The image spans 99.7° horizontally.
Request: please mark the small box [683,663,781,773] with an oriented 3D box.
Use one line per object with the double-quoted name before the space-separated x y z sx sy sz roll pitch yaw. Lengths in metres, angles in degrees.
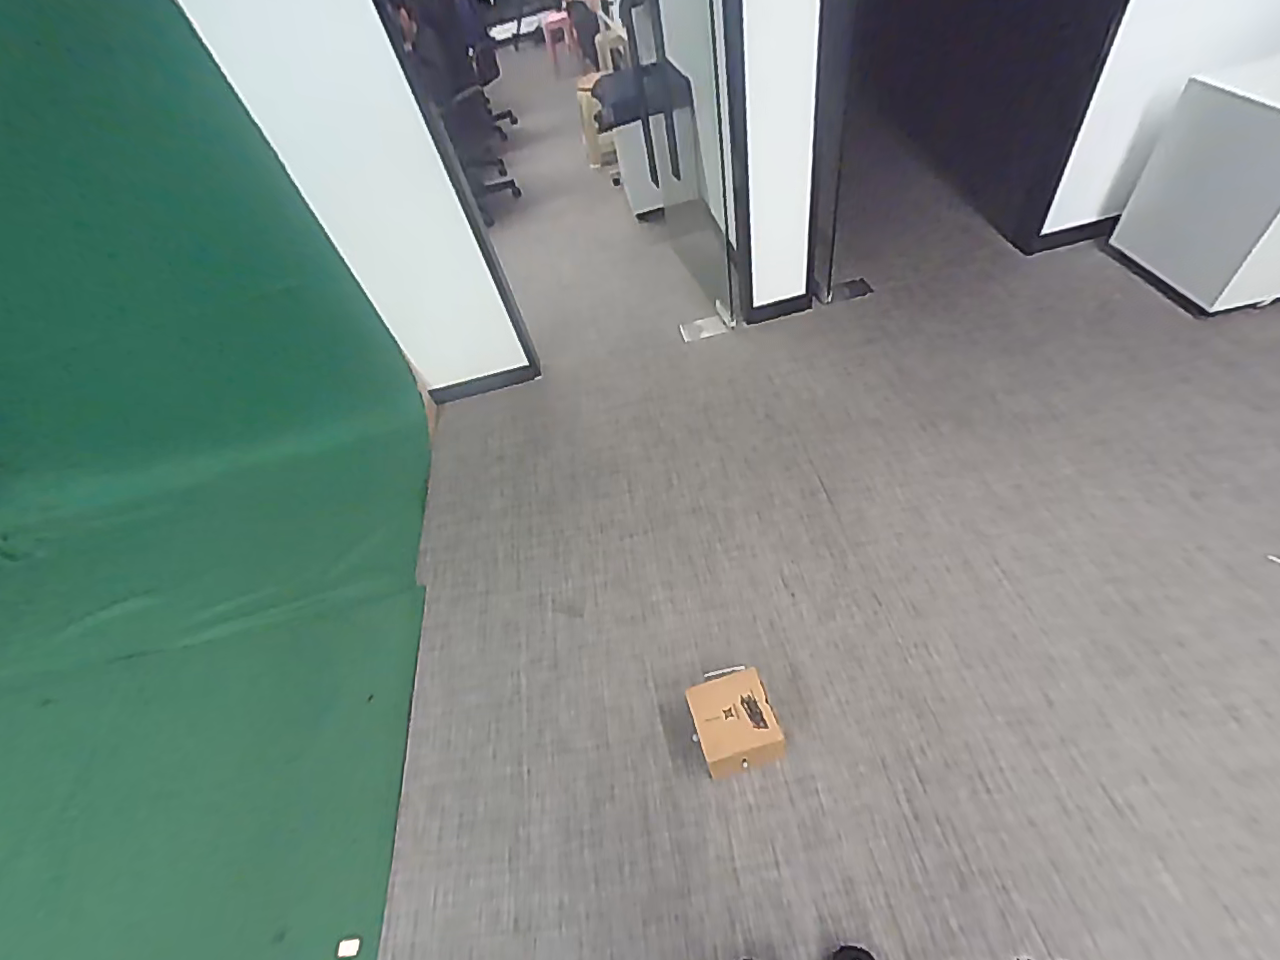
"small box" 0.214 0.562 1.274 0.179 0.176 0.168 -20 50 -4
